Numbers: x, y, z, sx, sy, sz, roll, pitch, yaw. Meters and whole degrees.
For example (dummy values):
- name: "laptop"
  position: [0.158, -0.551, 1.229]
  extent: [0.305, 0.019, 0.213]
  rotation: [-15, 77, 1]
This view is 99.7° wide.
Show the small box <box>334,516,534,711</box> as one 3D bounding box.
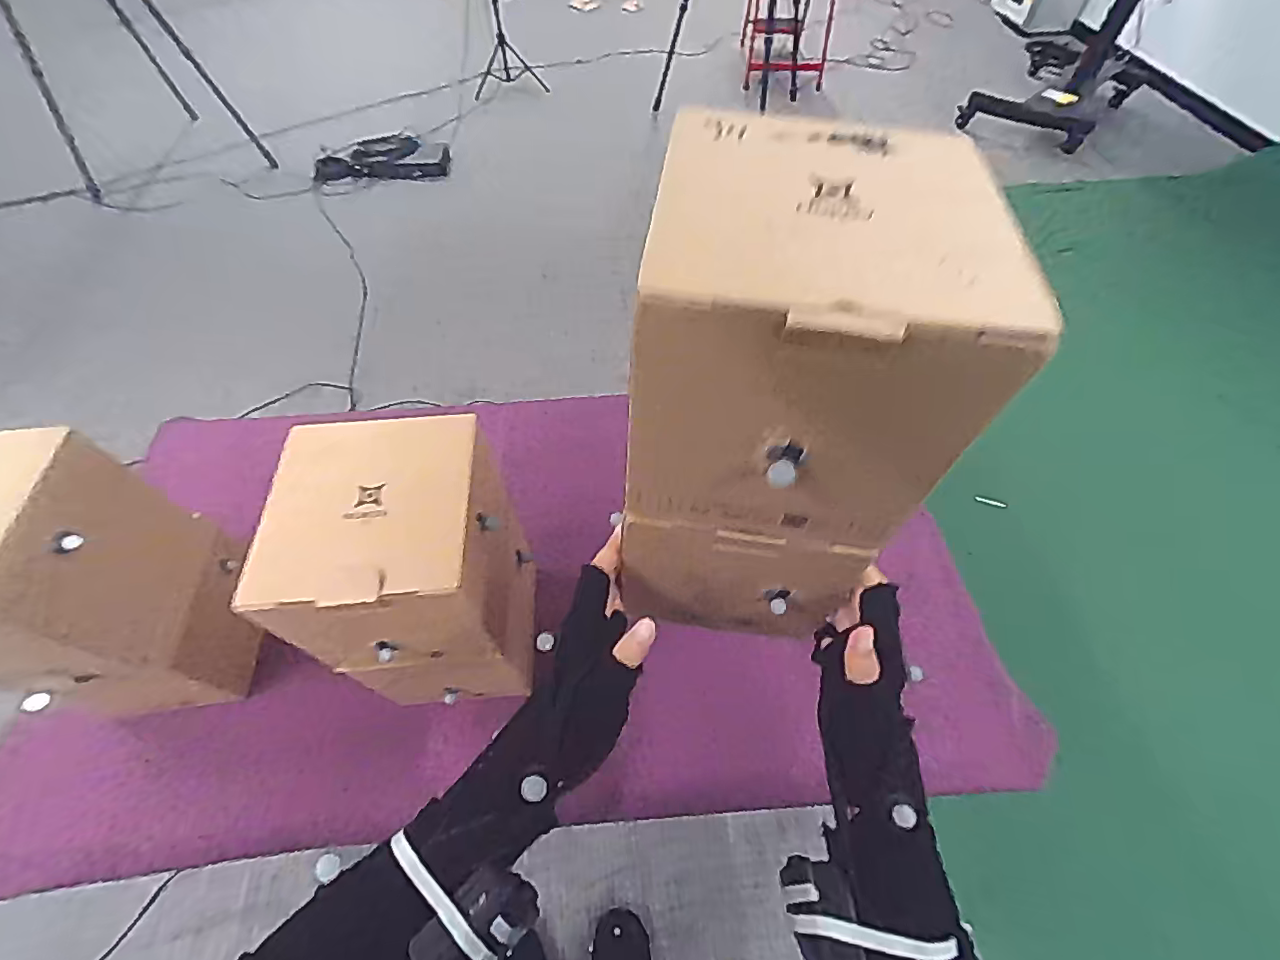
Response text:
- name: "small box"
  position: [-0.222, 0.161, 0.641]
  extent: [0.168, 0.176, 0.179]
  rotation: [-3, 56, -2]

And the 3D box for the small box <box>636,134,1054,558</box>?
- name: "small box"
  position: [0.090, -0.072, 0.325]
  extent: [0.168, 0.176, 0.179]
  rotation: [9, 55, 3]

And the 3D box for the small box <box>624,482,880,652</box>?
- name: "small box"
  position: [0.082, 0.027, 0.456]
  extent: [0.168, 0.176, 0.179]
  rotation: [8, 54, 3]

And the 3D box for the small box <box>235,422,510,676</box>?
- name: "small box"
  position: [-0.221, 0.068, 0.507]
  extent: [0.168, 0.176, 0.179]
  rotation: [-4, 57, -3]

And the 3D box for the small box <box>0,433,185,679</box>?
- name: "small box"
  position: [-0.576, 0.078, 0.493]
  extent: [0.168, 0.176, 0.179]
  rotation: [-2, 56, -4]
